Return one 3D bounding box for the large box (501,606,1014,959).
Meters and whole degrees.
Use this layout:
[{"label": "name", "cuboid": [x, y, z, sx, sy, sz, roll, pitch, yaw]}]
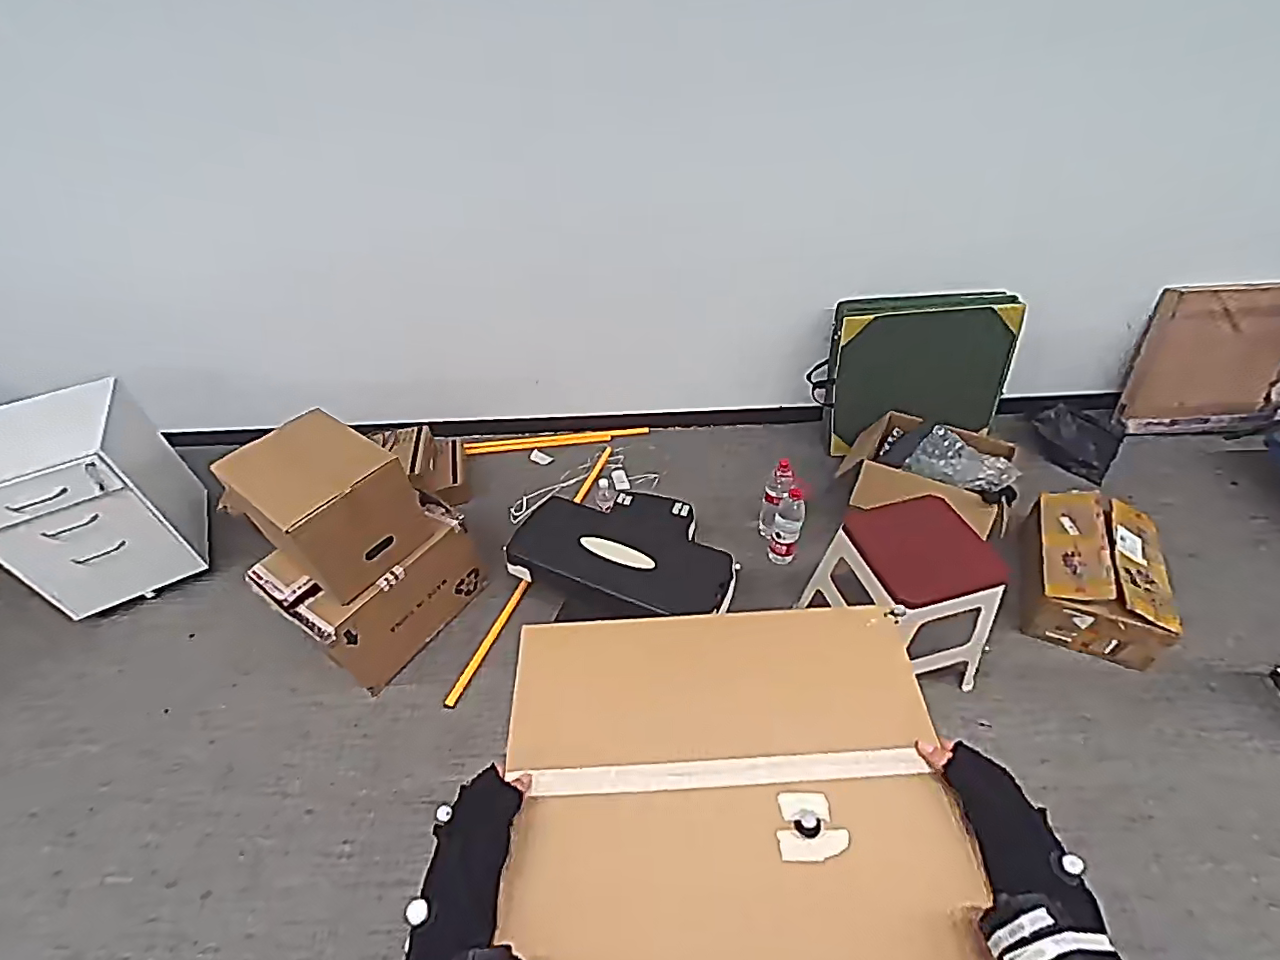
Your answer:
[{"label": "large box", "cuboid": [0.087, 0.367, 0.616, 0.408, 0.320, 0.320, -4, 50, 1]}]
